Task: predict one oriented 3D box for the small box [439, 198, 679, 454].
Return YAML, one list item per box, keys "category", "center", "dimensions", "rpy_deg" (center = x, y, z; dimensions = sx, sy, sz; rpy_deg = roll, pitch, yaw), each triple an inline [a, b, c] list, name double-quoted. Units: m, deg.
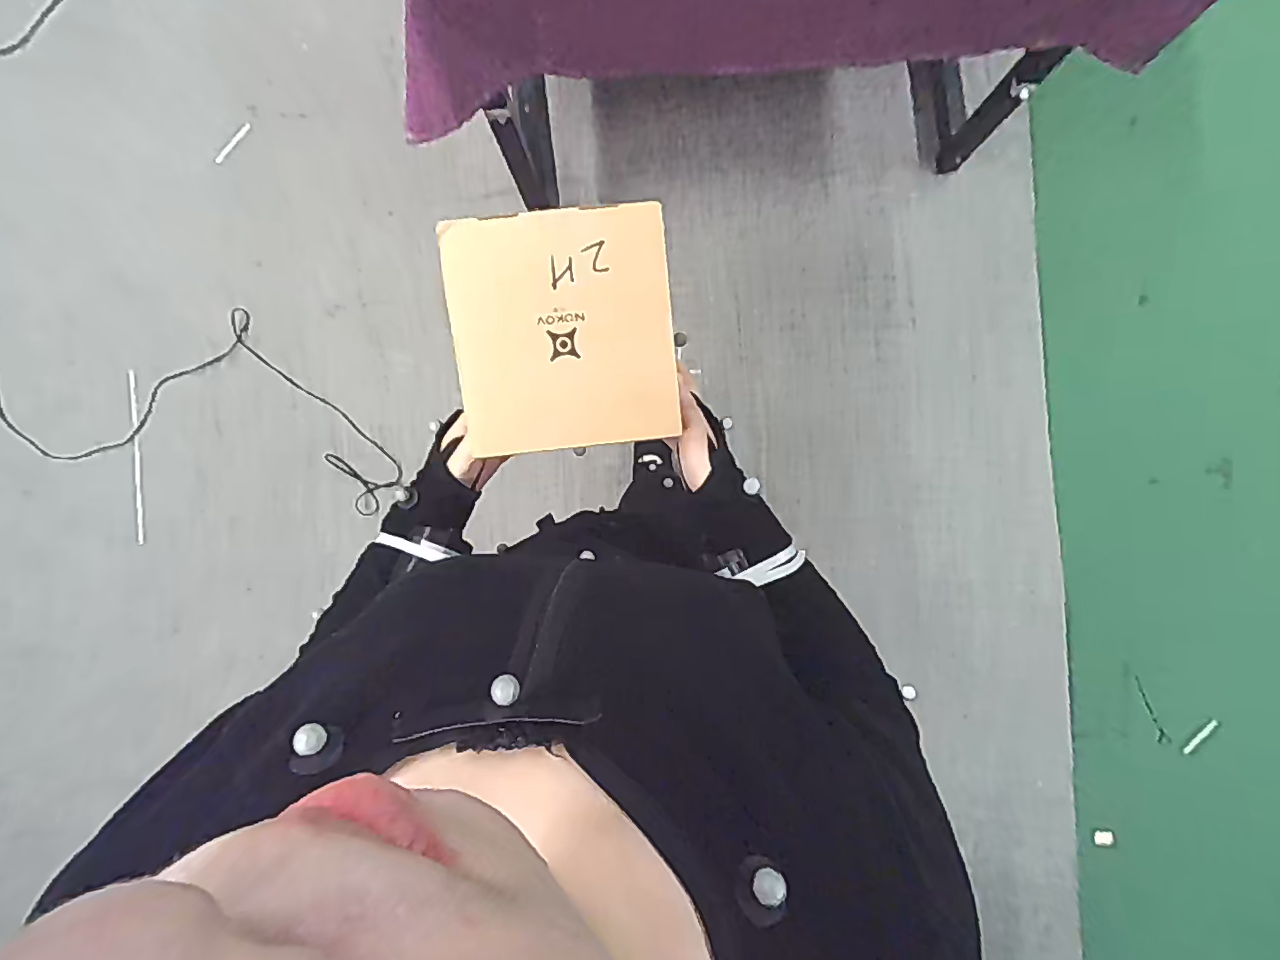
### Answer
- category: "small box"
  center: [-0.060, -0.126, 0.483]
  dimensions: [0.168, 0.176, 0.179]
  rpy_deg: [-6, 100, -2]
